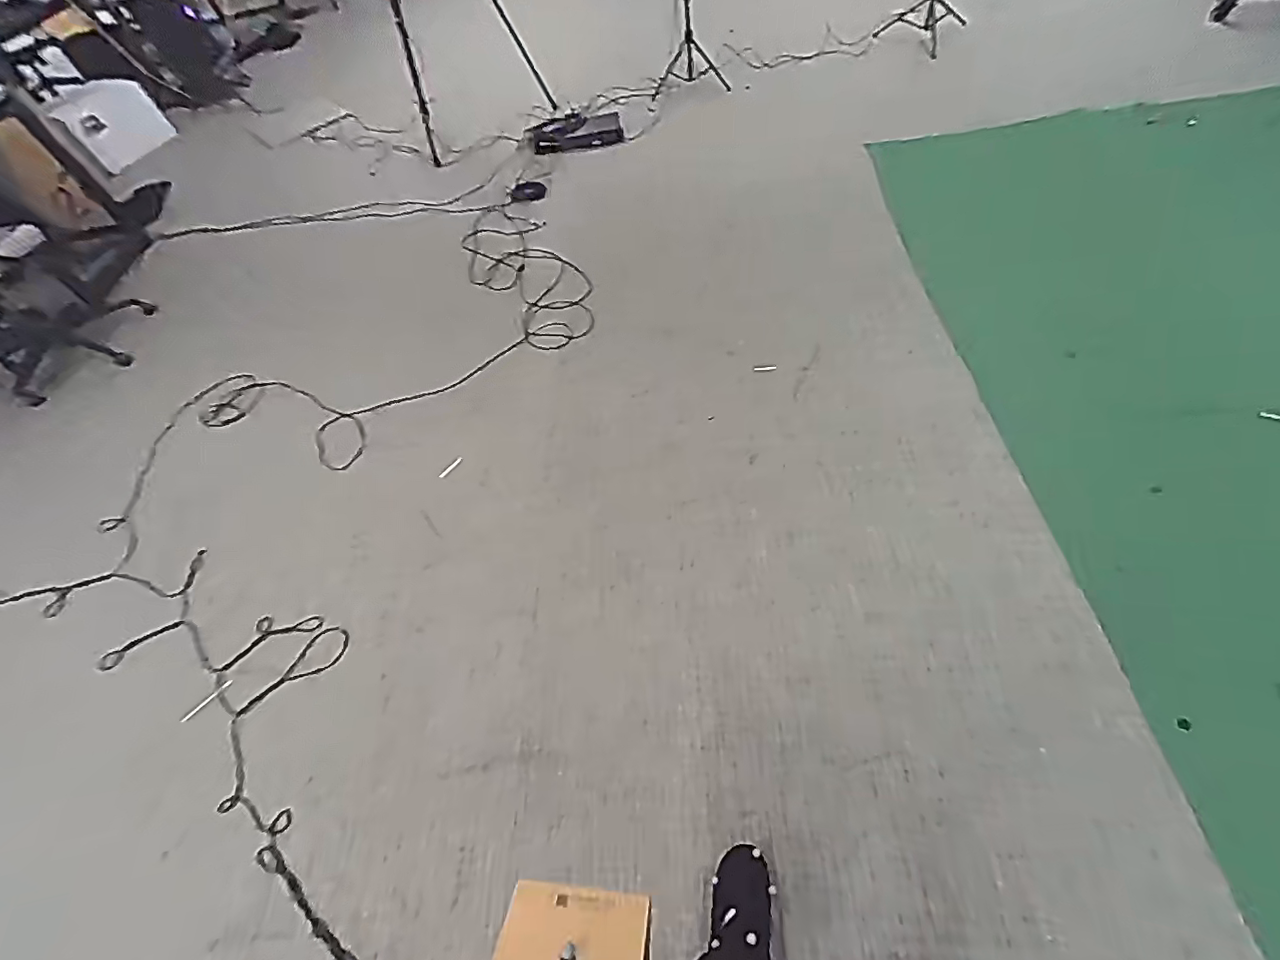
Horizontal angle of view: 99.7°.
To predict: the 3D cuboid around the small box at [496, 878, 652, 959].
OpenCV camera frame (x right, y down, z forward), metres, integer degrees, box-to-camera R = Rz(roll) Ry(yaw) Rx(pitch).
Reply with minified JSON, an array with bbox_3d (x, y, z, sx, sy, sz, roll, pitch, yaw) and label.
[{"bbox_3d":[-0.076,0.592,0.609,0.168,0.179,0.176,1,19,6],"label":"small box"}]
